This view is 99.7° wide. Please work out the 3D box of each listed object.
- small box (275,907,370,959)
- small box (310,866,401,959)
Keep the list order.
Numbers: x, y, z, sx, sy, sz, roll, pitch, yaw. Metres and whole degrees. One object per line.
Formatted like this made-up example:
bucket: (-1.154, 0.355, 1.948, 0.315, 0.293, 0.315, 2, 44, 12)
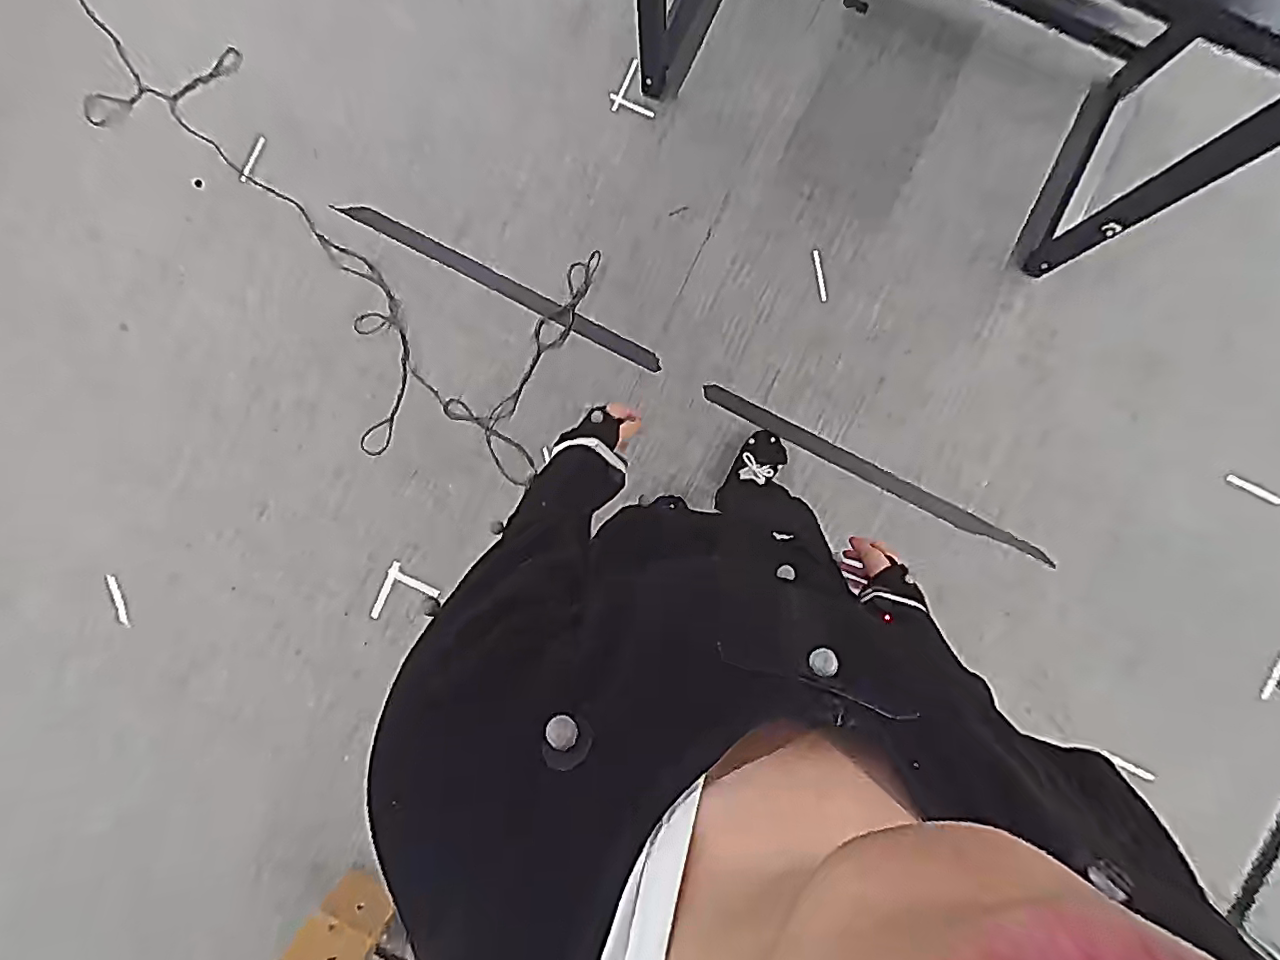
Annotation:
small box: (-0.787, 1.192, 1.301, 0.168, 0.176, 0.179, 25, 92, 2)
small box: (-0.790, 1.199, 1.463, 0.179, 0.176, 0.168, 27, 92, 1)
